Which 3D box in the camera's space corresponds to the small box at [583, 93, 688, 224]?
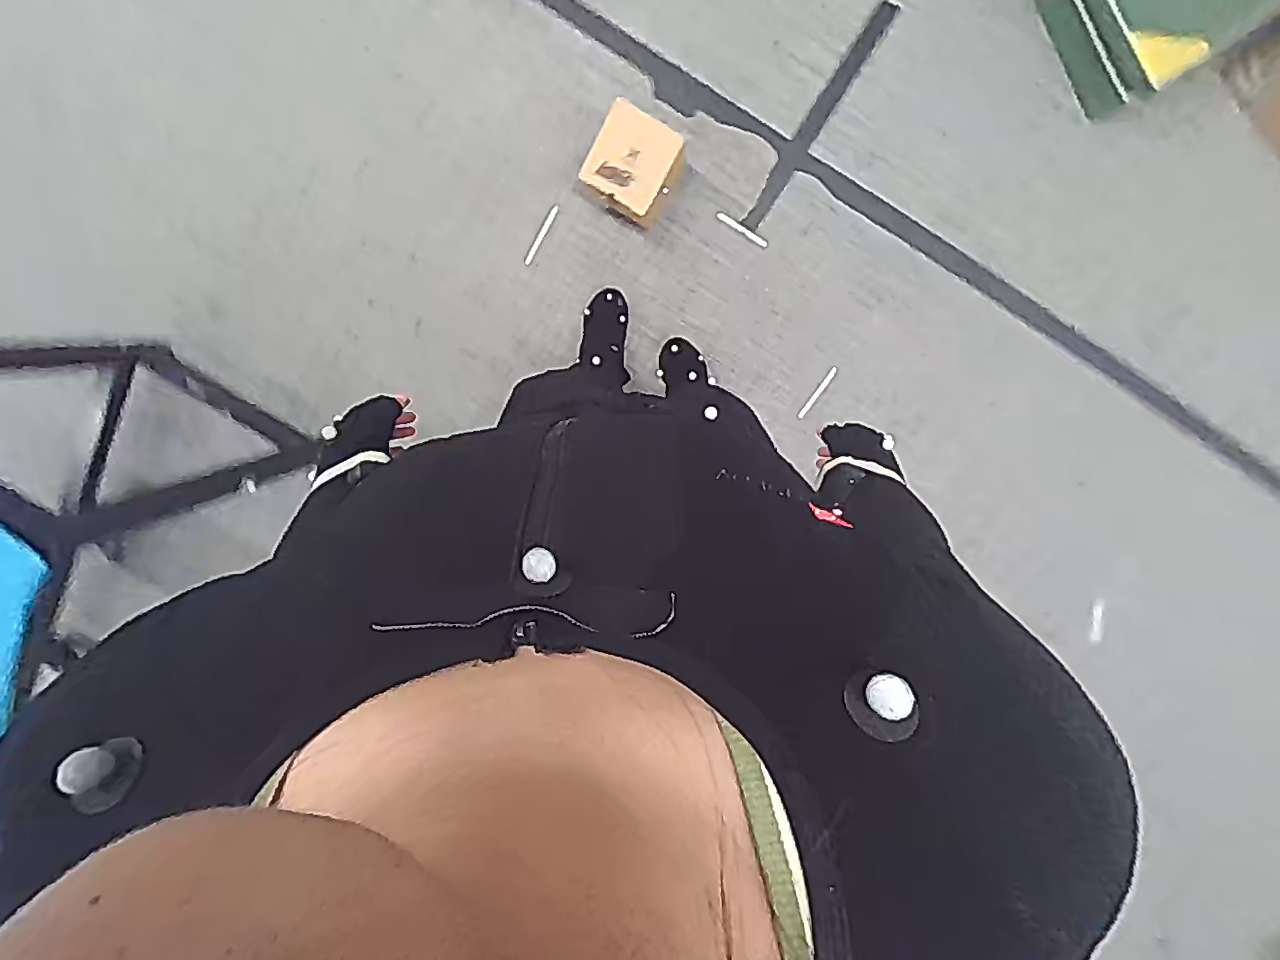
[{"bbox_3d":[-0.002,-0.705,1.213,0.168,0.176,0.179,32,106,-4],"label":"small box"}]
